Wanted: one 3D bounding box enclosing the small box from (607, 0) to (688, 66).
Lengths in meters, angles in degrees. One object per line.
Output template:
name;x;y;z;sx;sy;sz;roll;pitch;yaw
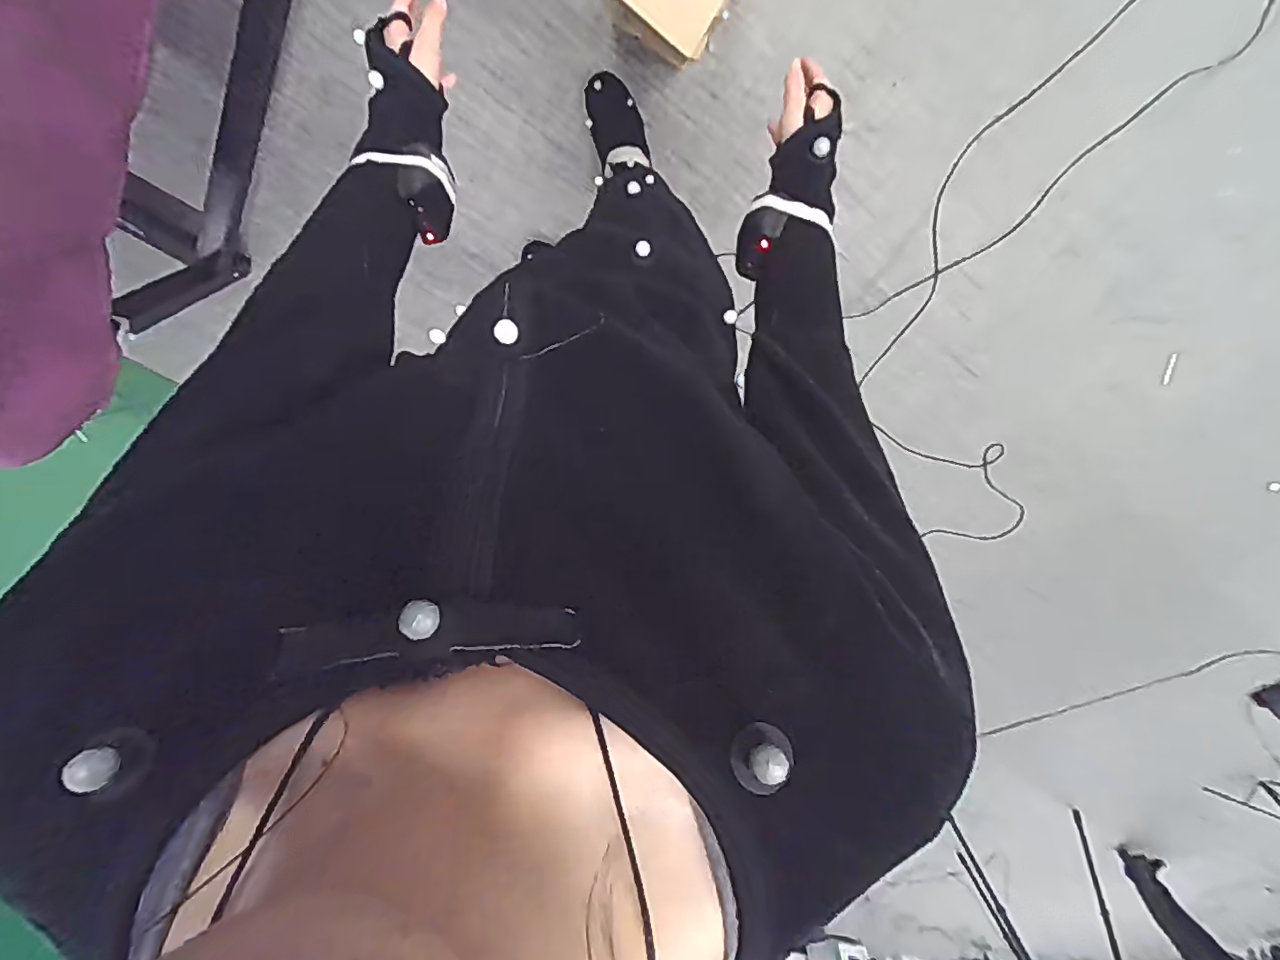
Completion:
small box;0.056;-0.888;0.975;0.168;0.176;0.179;25;123;-17

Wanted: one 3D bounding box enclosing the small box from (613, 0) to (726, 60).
small box;0.038;-0.595;0.577;0.168;0.176;0.179;30;123;-19
